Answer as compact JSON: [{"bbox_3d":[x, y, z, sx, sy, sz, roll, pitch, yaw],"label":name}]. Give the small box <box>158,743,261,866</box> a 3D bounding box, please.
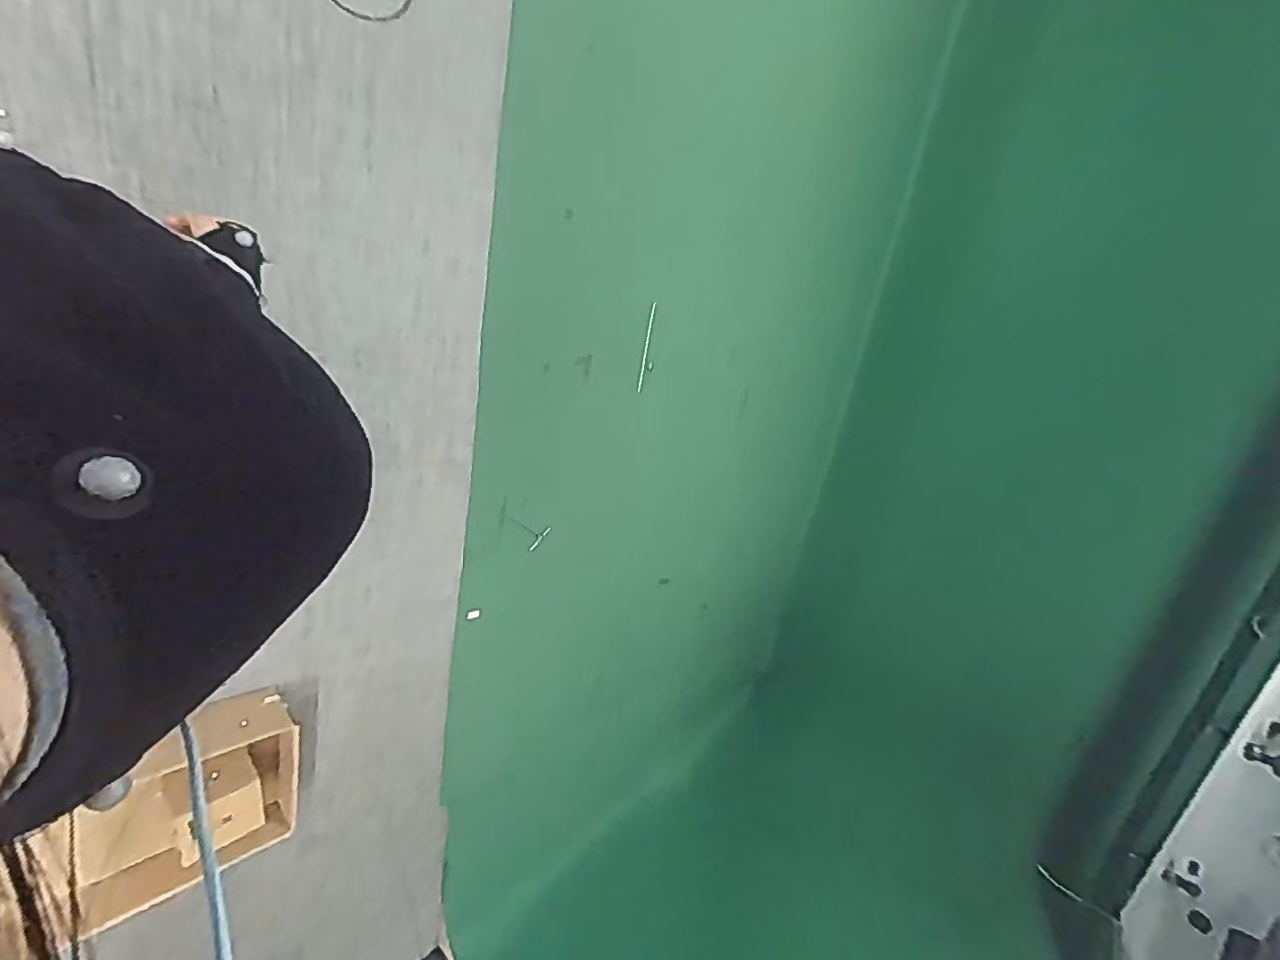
[{"bbox_3d":[-1.122,0.833,1.407,0.179,0.176,0.168,-15,120,-50],"label":"small box"}]
